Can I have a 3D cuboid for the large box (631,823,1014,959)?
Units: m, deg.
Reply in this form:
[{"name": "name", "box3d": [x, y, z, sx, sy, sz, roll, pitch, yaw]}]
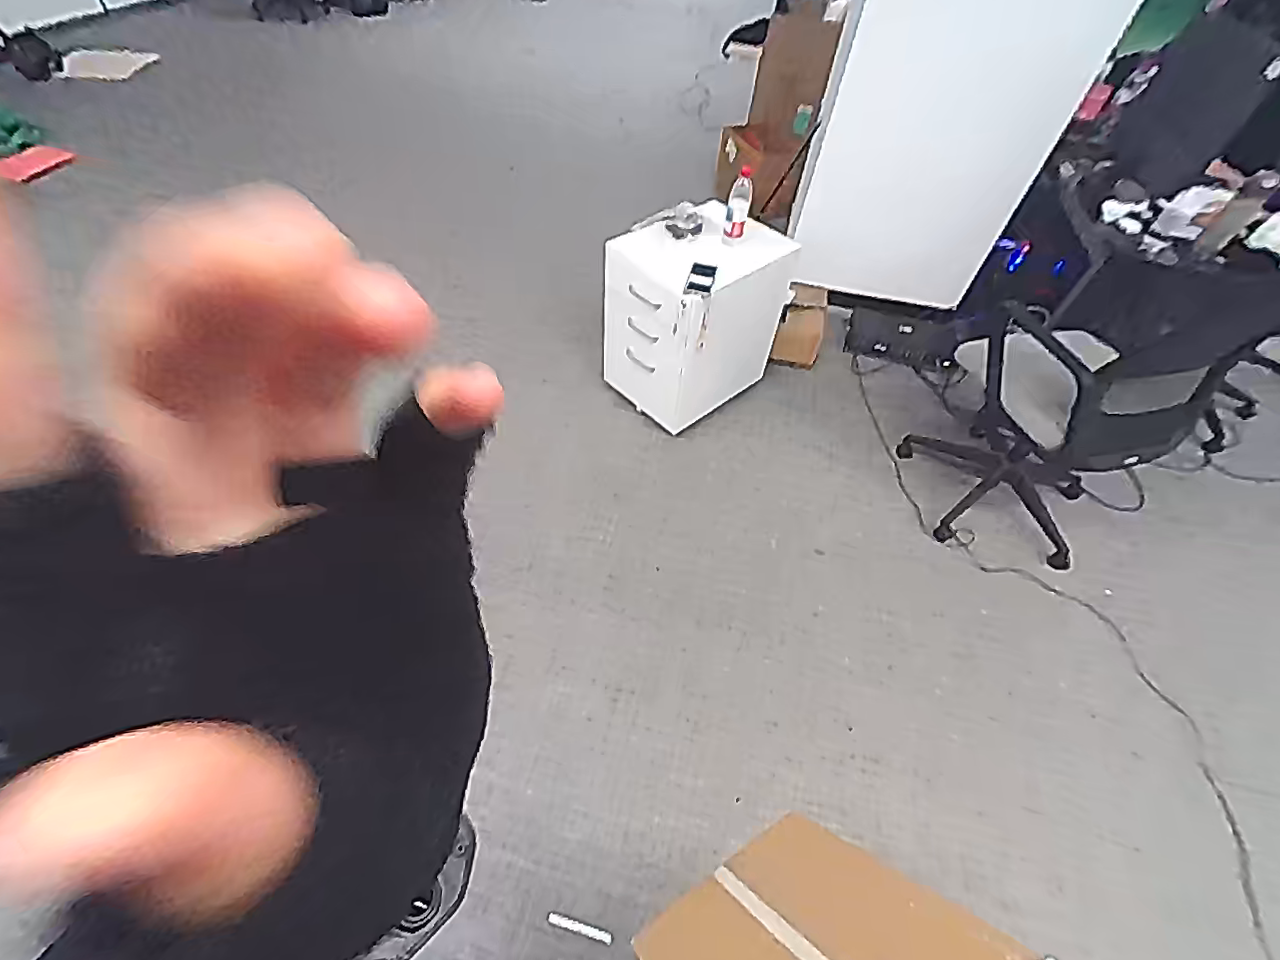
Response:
[{"name": "large box", "box3d": [0.243, 0.701, 0.623, 0.320, 0.408, 0.320, -22, 89, -24]}]
